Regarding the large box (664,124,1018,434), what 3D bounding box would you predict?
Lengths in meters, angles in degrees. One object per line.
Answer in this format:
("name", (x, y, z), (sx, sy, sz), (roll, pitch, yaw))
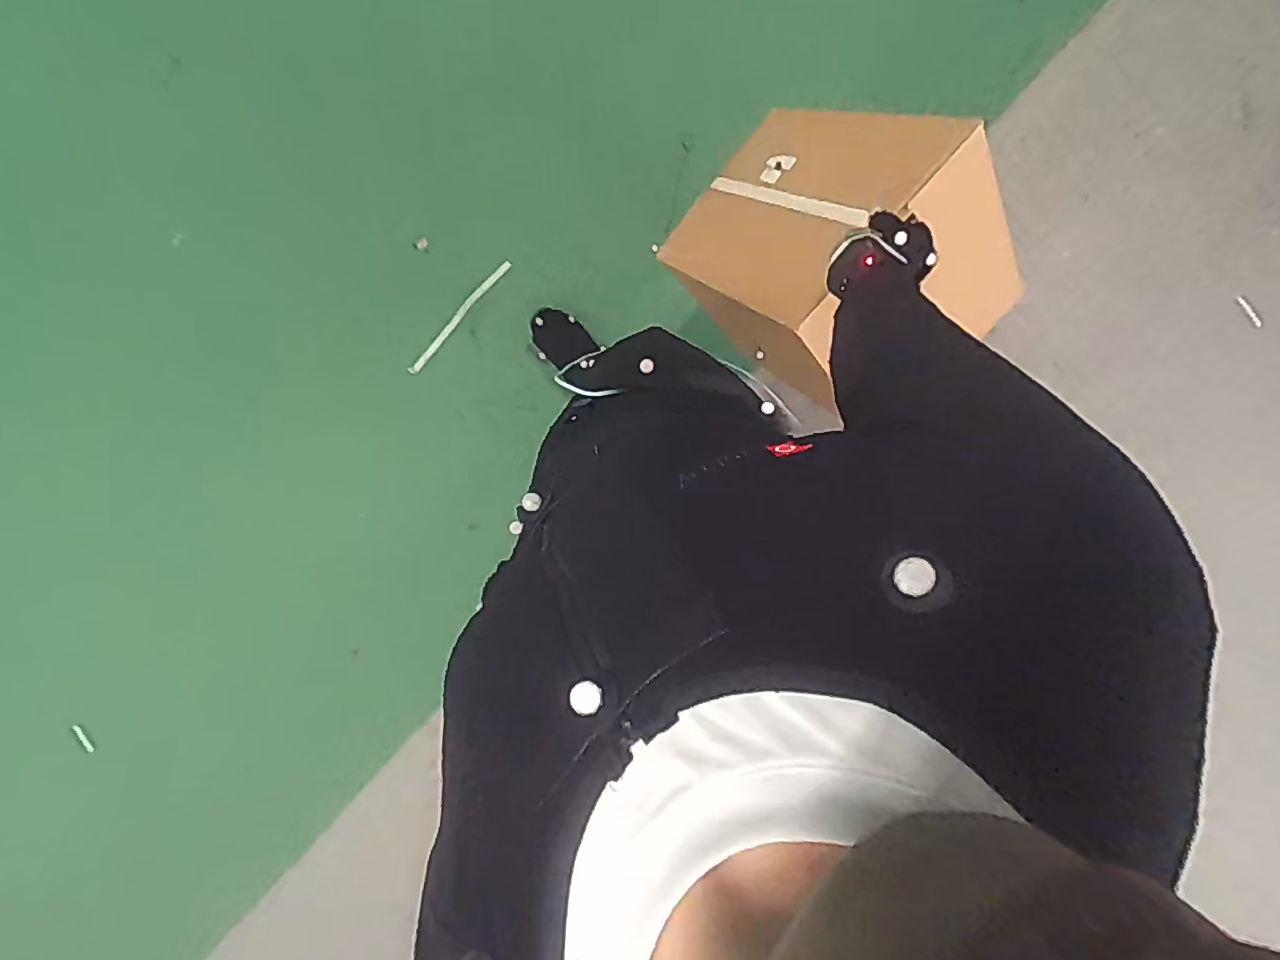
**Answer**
("large box", (0.318, -0.343, 0.912), (0.320, 0.408, 0.320), (-48, 131, 9))
